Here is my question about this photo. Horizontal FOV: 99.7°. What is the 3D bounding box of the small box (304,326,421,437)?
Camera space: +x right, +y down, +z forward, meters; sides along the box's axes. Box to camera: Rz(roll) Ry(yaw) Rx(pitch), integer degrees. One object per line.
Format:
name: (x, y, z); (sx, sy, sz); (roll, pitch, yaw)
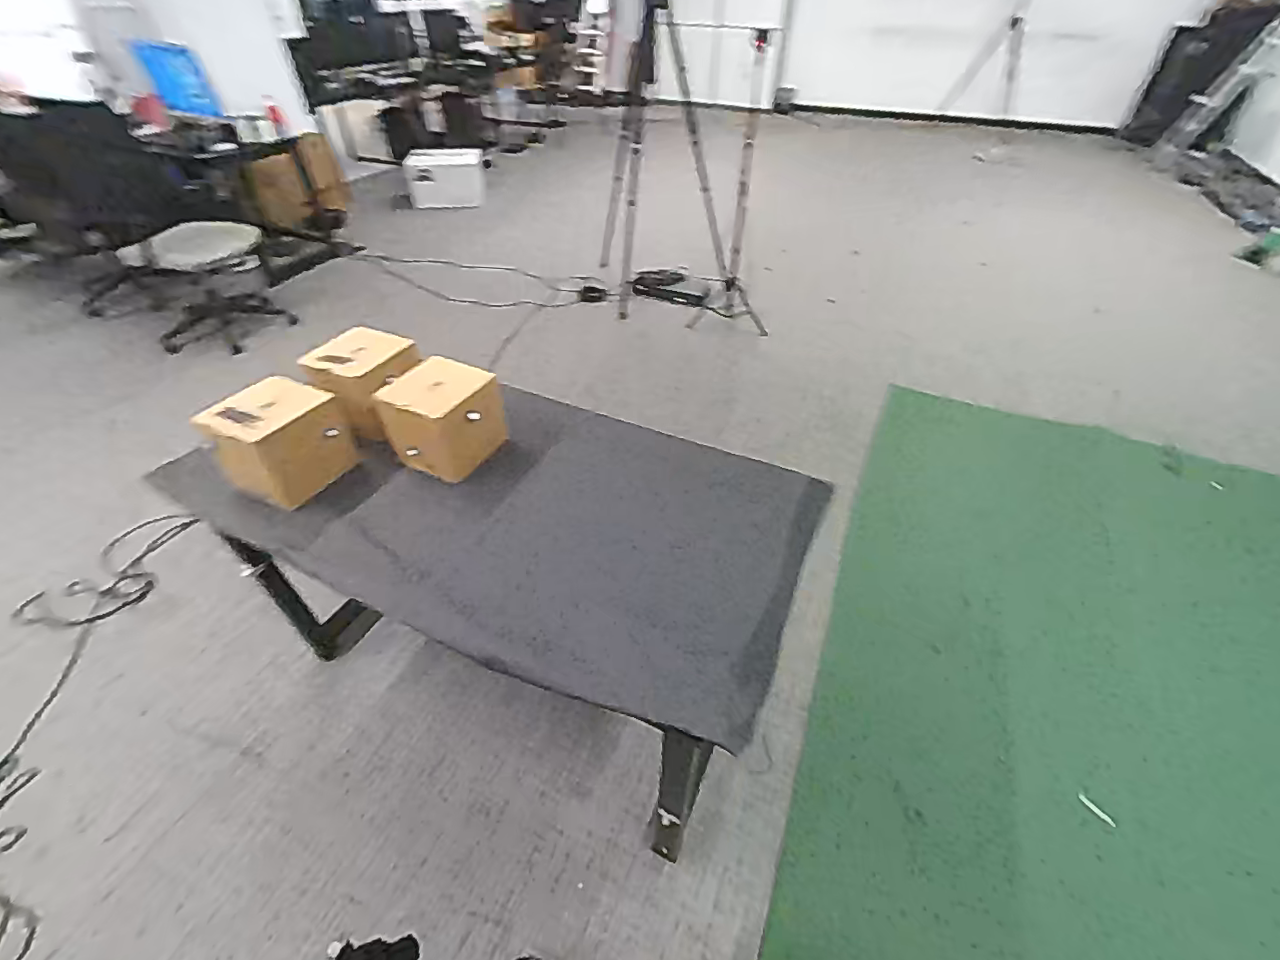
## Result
small box: (-0.602, -0.222, 1.223); (0.168, 0.176, 0.179); (18, 45, 17)

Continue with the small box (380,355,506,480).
small box: (-0.399, -0.132, 1.133); (0.168, 0.176, 0.179); (20, 47, 19)
